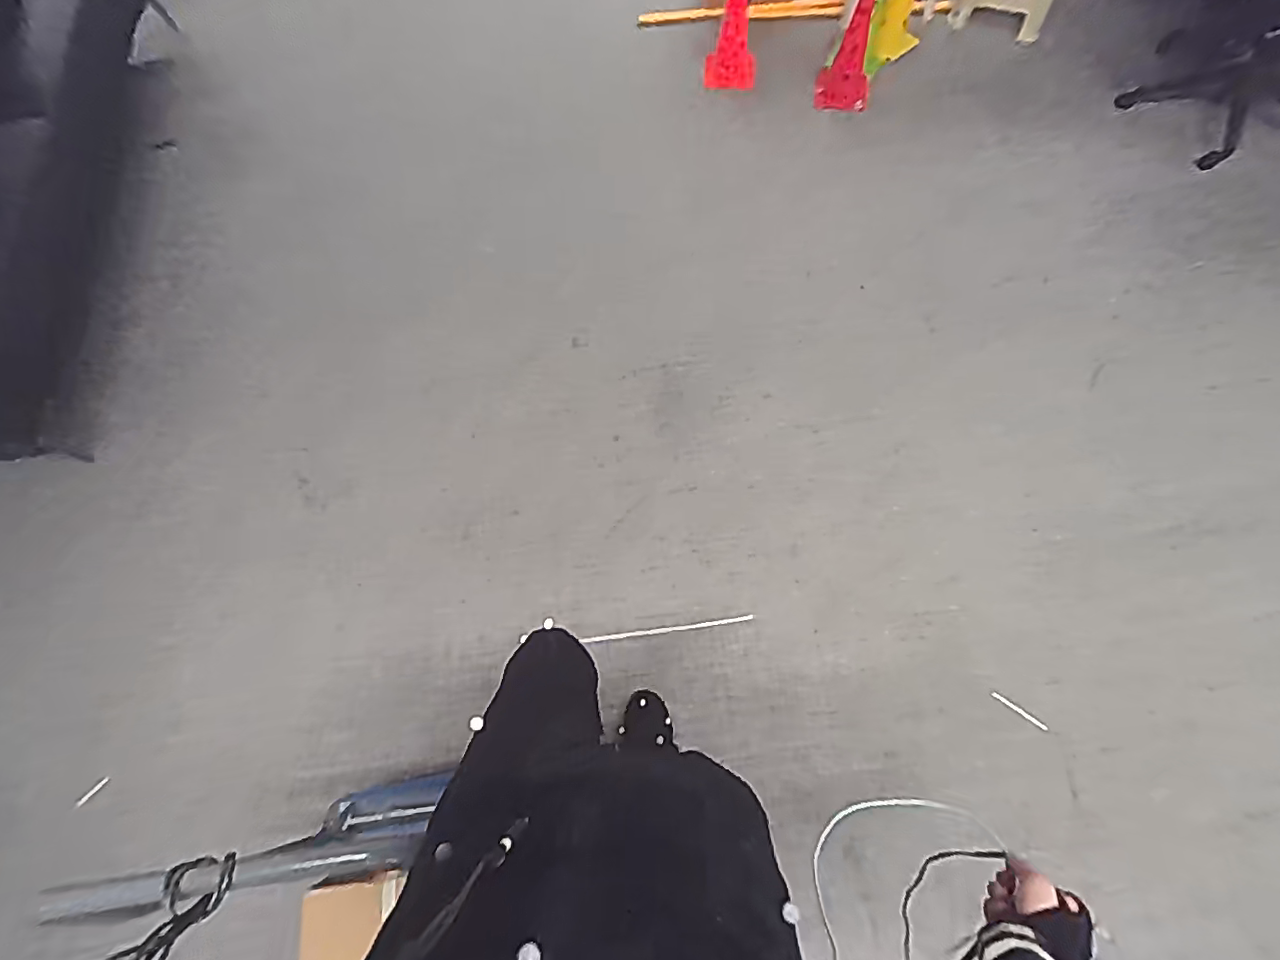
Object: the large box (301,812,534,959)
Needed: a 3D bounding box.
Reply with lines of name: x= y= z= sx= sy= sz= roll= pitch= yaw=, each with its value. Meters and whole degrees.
large box: x=-0.381 y=0.893 z=0.989 sx=0.320 sy=0.320 sz=0.408 roll=-8 pitch=71 yaw=0
